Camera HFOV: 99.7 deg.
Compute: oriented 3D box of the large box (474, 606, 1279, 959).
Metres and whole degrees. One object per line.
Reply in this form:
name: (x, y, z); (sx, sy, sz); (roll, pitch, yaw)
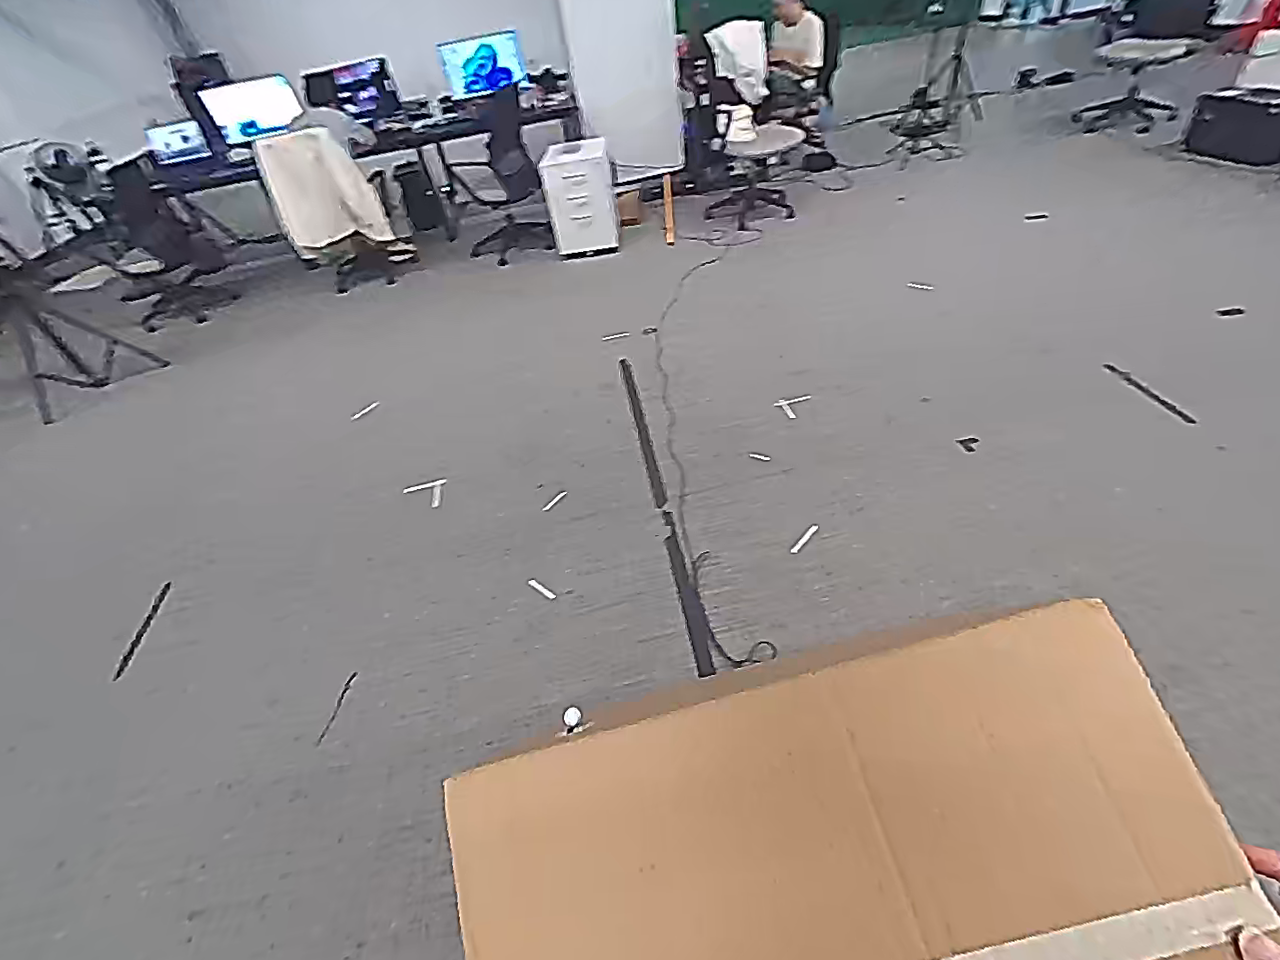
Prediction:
large box: (0.140, 0.316, 0.424); (0.408, 0.320, 0.320); (-16, 72, 2)
